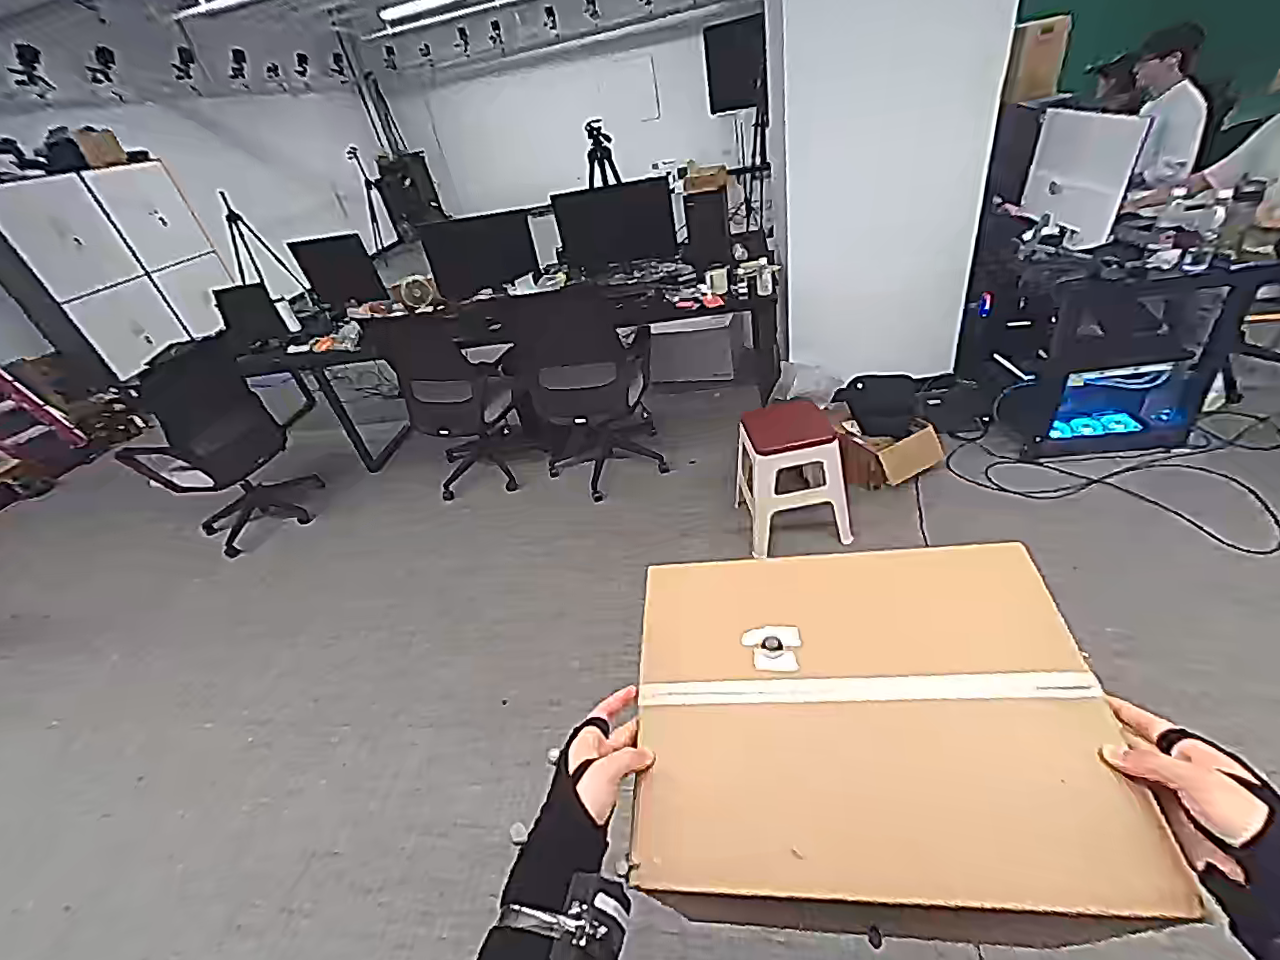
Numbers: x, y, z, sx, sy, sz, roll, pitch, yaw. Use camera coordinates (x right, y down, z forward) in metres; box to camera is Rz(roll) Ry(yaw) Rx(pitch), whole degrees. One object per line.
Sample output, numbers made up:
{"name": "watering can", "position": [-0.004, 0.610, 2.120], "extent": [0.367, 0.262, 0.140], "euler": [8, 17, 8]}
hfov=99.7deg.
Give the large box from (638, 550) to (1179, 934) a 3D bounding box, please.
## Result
{"name": "large box", "position": [0.232, 0.310, 0.623], "extent": [0.408, 0.320, 0.320], "euler": [-7, 45, 12]}
